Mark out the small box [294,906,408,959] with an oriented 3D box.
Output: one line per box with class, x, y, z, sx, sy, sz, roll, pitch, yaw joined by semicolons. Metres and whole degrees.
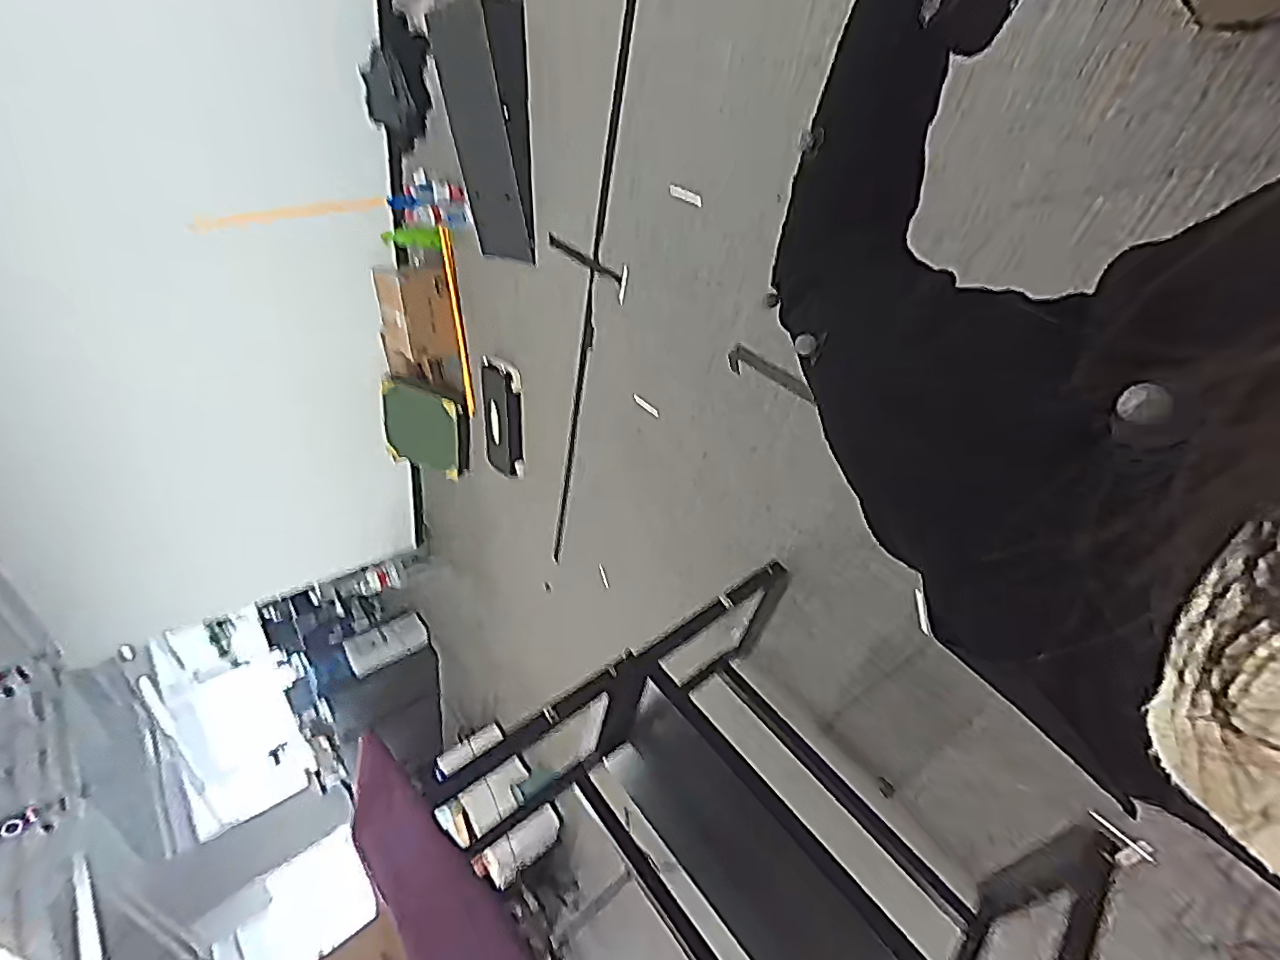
small box;-0.553;0.981;1.054;0.179;0.176;0.168;43;136;29
